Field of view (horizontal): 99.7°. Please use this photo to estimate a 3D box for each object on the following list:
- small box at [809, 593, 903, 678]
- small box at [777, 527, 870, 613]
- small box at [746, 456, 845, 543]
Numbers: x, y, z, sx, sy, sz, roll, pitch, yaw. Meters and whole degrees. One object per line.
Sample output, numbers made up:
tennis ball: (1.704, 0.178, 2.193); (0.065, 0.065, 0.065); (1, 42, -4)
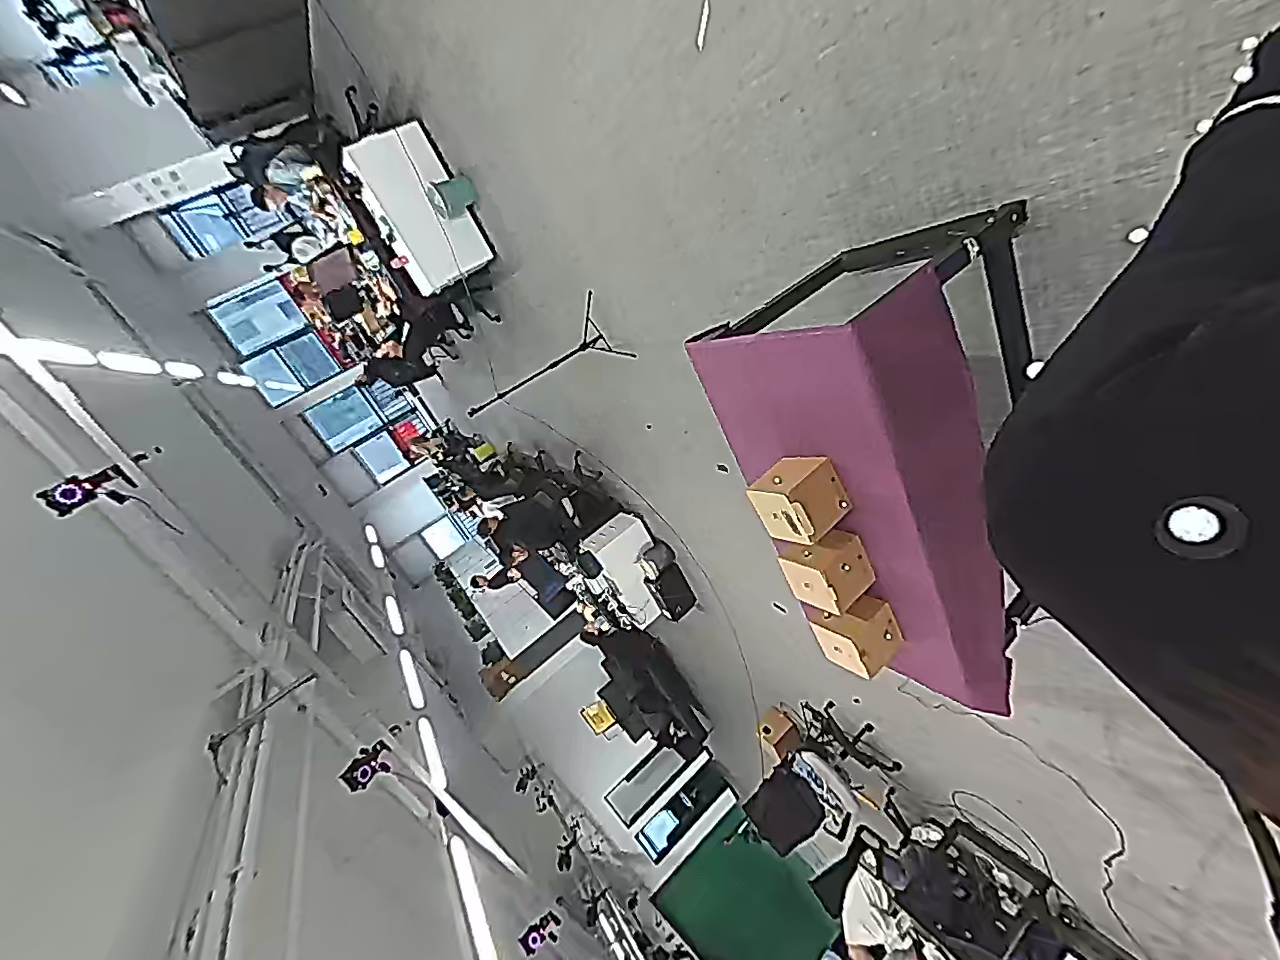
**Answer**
small box: (0.659, 0.458, 1.648); (0.168, 0.176, 0.179); (59, 159, -19)
small box: (0.541, 0.251, 1.571); (0.179, 0.176, 0.168); (13, 136, 61)
small box: (0.429, 0.047, 1.471); (0.168, 0.176, 0.179); (59, 160, -15)
